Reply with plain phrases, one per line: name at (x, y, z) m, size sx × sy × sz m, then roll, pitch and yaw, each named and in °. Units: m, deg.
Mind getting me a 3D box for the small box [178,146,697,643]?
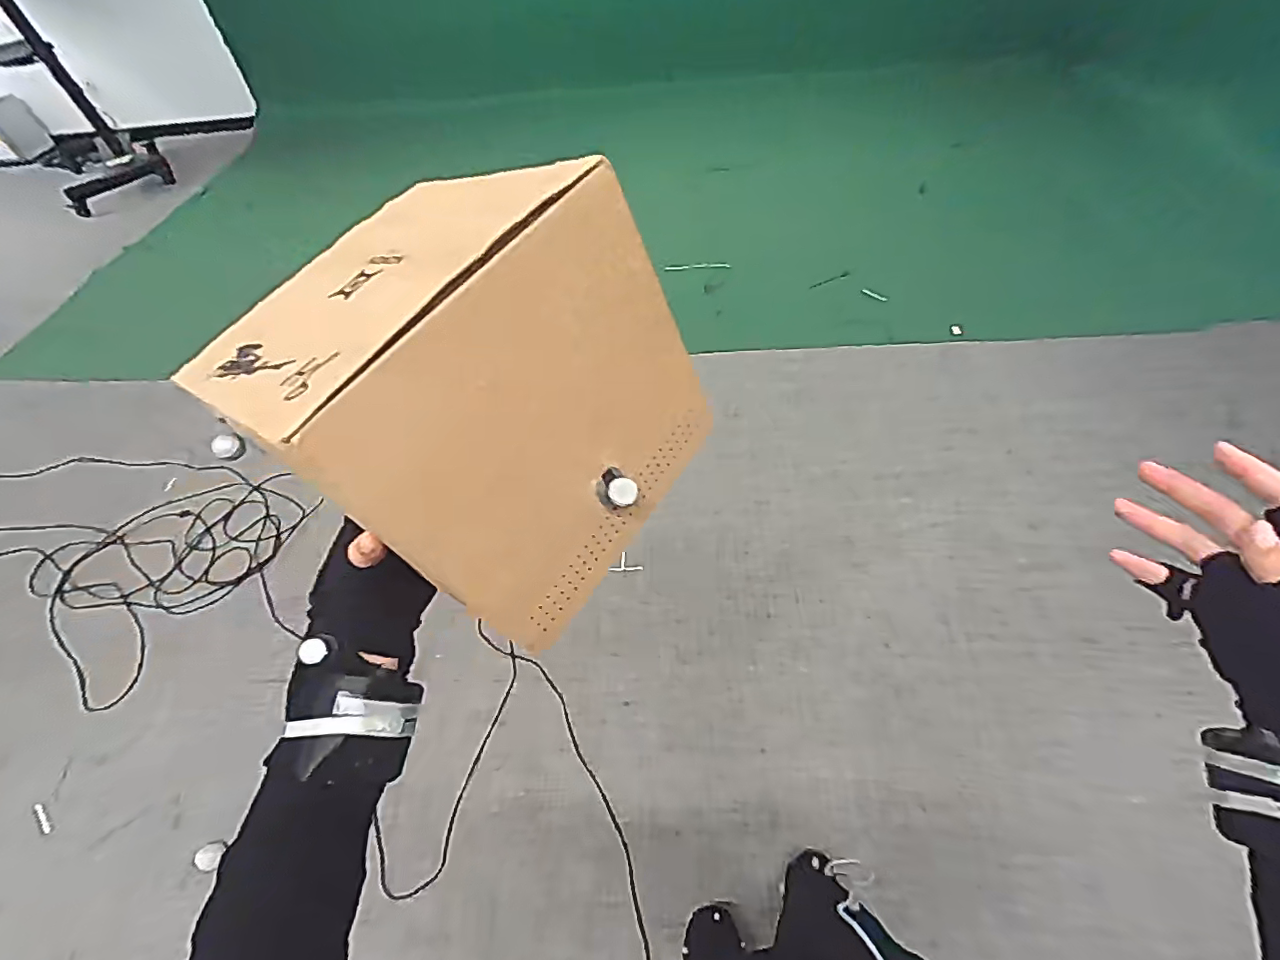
small box at (-0.087, -0.047, 0.298) m, size 0.168 × 0.176 × 0.179 m, roll 19°, pitch 61°, yaw 39°
